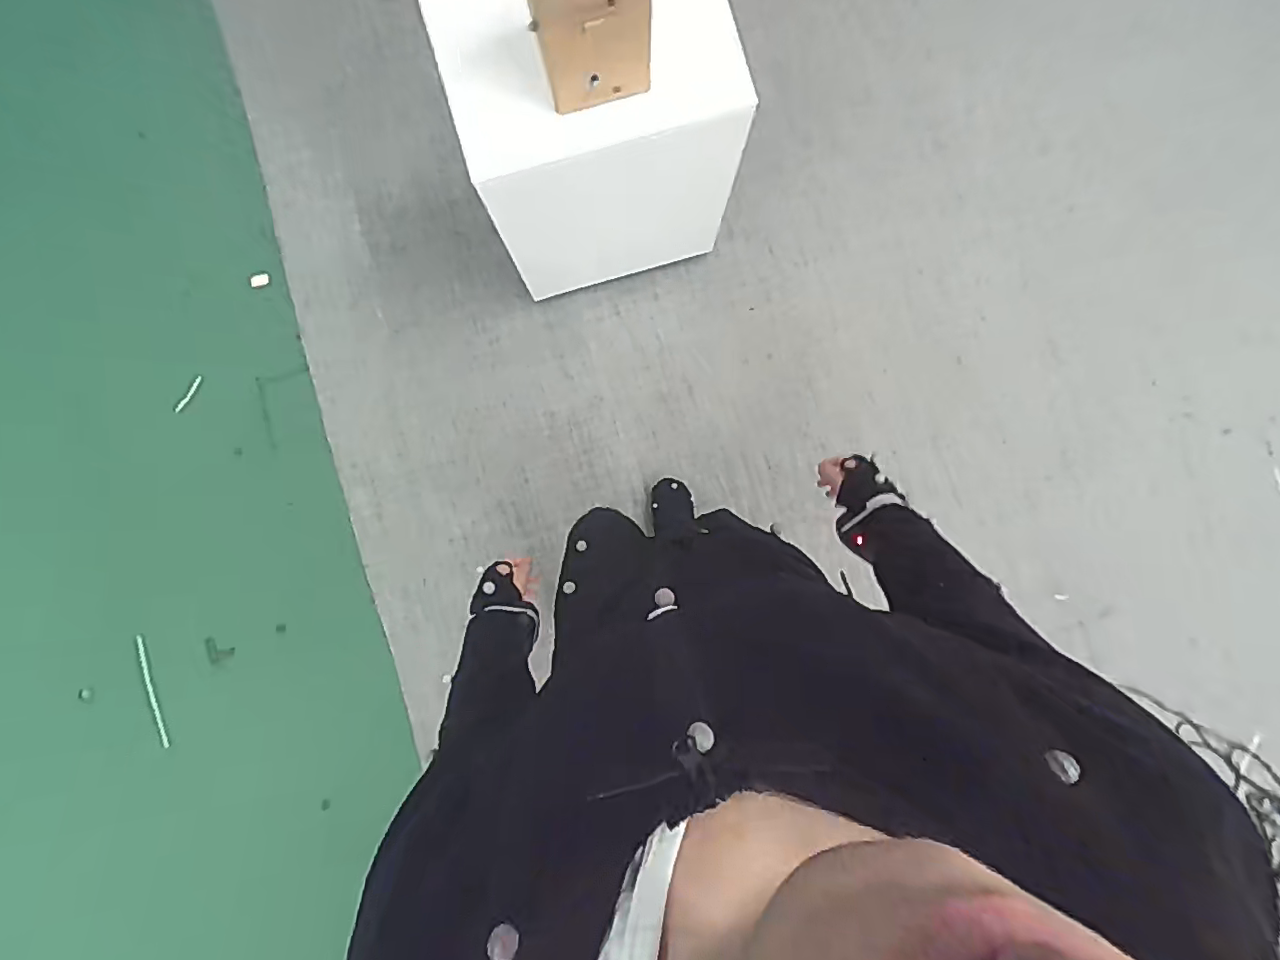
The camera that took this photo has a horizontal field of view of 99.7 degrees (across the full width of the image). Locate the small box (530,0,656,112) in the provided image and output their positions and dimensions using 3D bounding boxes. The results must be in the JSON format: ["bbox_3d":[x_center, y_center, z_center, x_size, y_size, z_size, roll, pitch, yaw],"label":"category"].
[{"bbox_3d":[-0.079,-0.723,0.833,0.168,0.176,0.179,-16,87,-1],"label":"small box"}]
